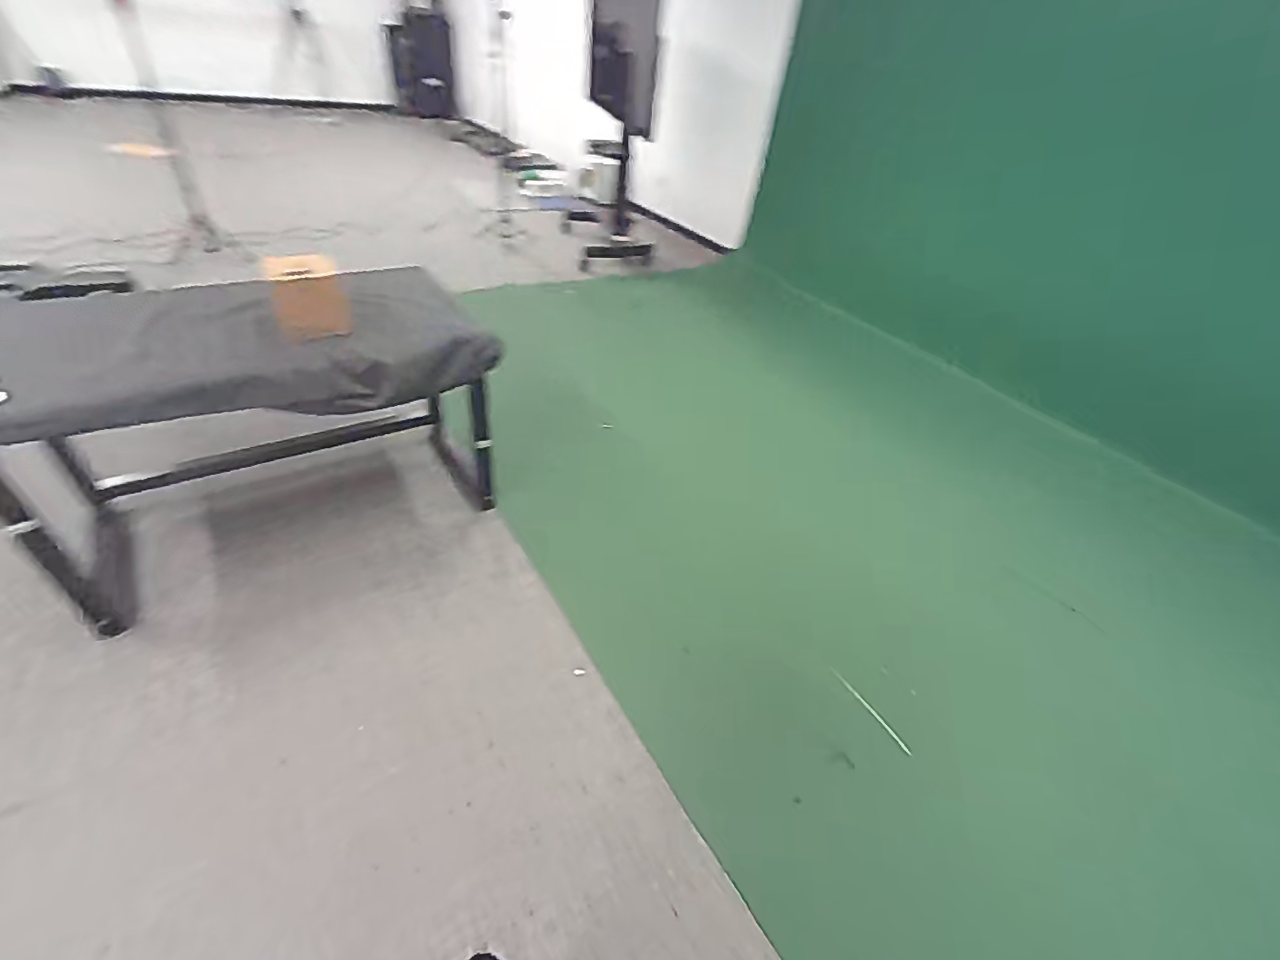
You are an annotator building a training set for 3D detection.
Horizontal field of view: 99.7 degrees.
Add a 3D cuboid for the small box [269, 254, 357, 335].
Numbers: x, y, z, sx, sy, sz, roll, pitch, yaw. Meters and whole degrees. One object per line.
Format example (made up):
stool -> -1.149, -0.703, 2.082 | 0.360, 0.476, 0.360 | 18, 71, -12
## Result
small box -> -0.914, -0.518, 1.518 | 0.168, 0.176, 0.179 | -17, 45, -29
